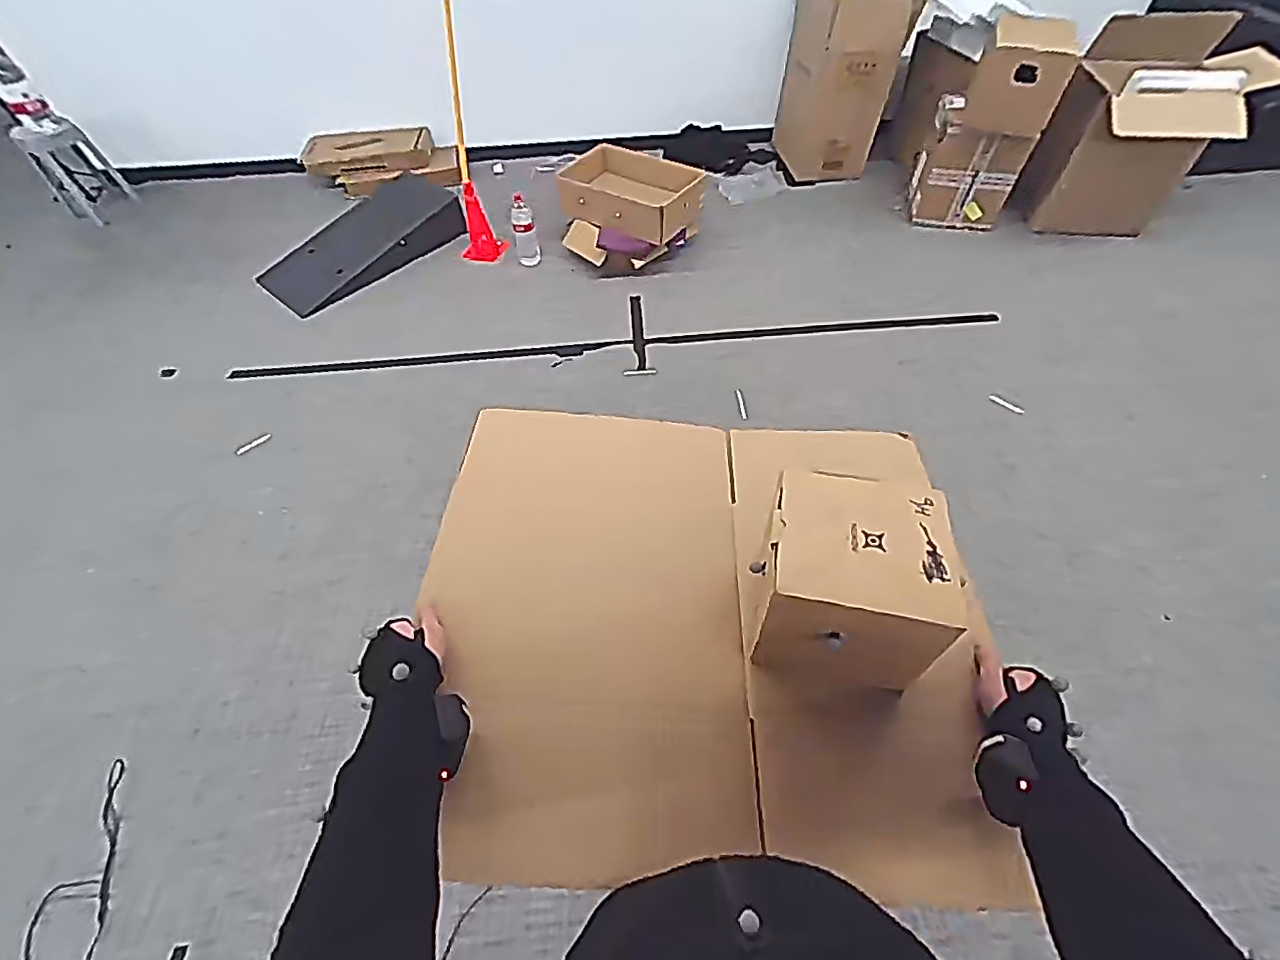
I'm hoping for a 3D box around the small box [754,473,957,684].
[{"bbox_3d":[0.231,0.116,0.622,0.179,0.176,0.168,8,51,10],"label":"small box"}]
